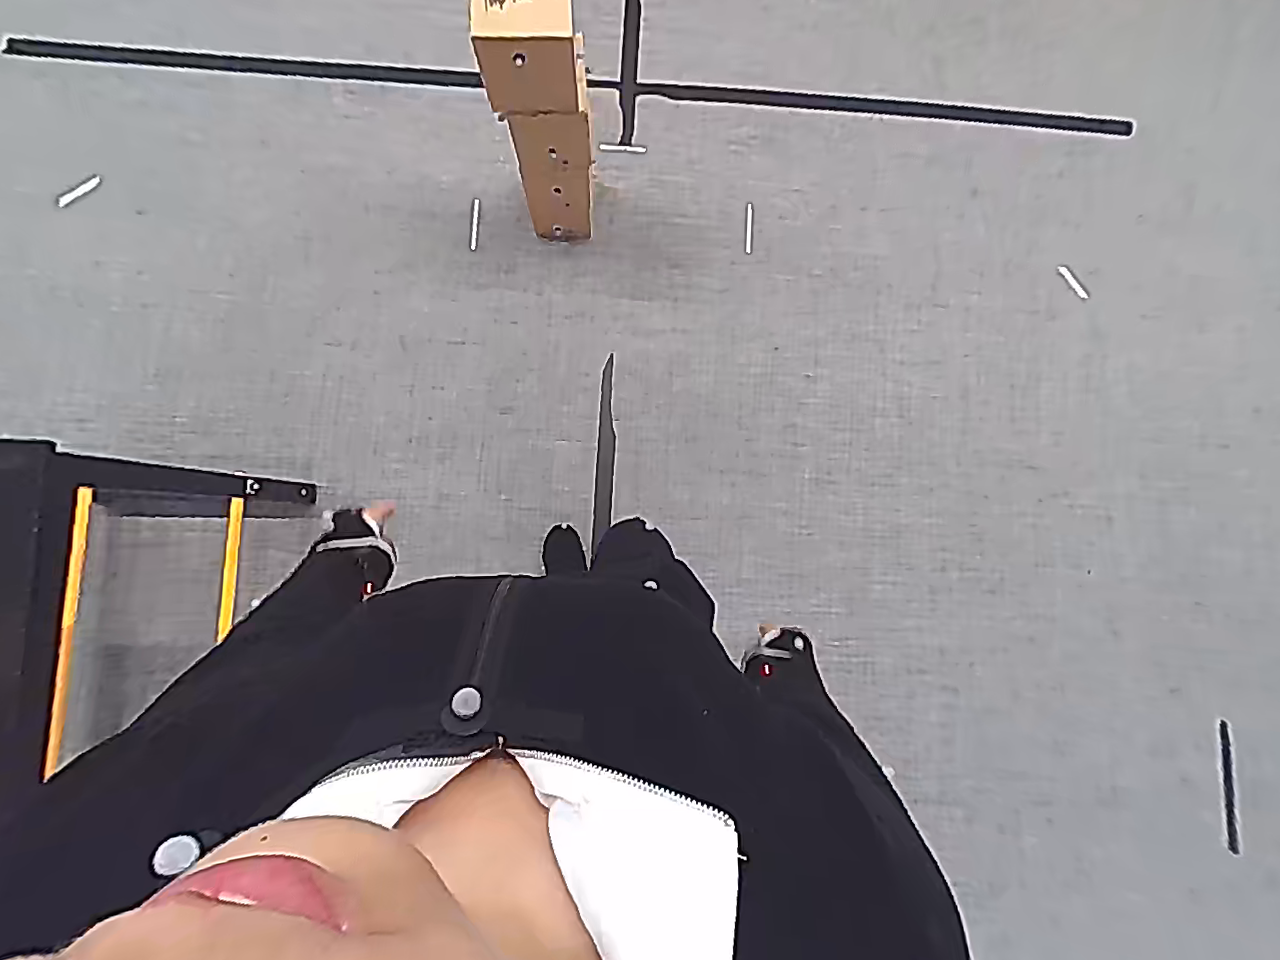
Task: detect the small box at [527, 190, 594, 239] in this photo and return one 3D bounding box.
[{"bbox_3d":[-0.216,-0.795,1.495,0.168,0.176,0.179,0,86,-2],"label":"small box"}]

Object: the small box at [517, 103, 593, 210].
[{"bbox_3d":[-0.202,-0.792,1.331,0.168,0.176,0.179,1,86,-3],"label":"small box"}]

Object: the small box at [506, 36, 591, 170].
[{"bbox_3d":[-0.195,-0.805,1.166,0.168,0.176,0.179,-4,85,-2],"label":"small box"}]

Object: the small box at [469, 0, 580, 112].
[{"bbox_3d":[-0.207,-0.818,1.001,0.179,0.176,0.168,-3,85,-3],"label":"small box"}]
